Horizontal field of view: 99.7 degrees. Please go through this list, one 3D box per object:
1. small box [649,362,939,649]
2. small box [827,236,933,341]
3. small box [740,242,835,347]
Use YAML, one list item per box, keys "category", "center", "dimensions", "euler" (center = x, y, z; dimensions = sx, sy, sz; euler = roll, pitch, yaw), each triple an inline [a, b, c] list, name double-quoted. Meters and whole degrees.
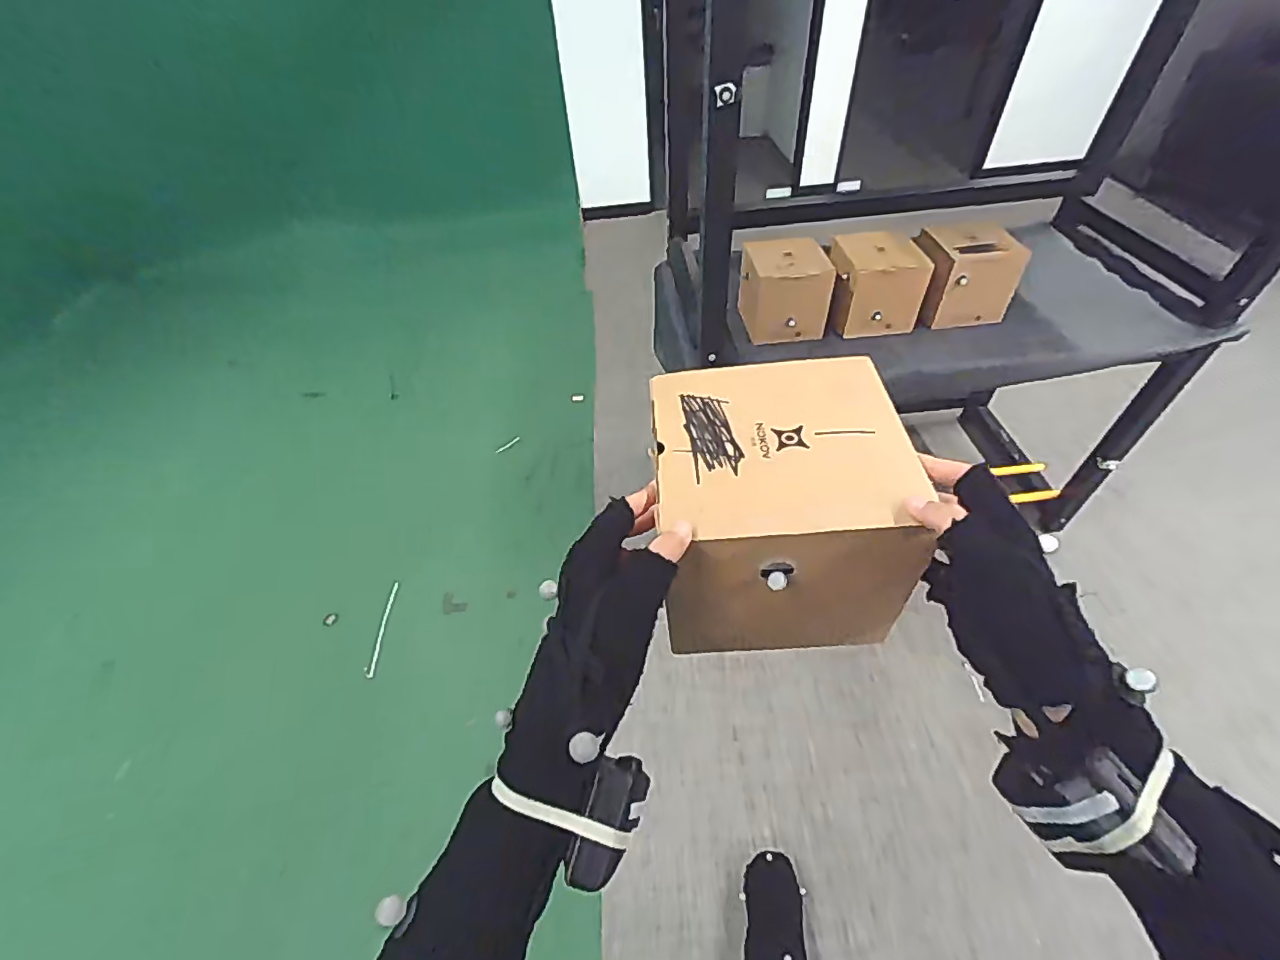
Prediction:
- category: "small box"
  center: [0.102, 0.026, 0.441]
  dimensions: [0.179, 0.176, 0.168]
  euler: [-4, 49, 3]
- category: "small box"
  center: [0.542, -0.447, 1.264]
  dimensions: [0.168, 0.176, 0.179]
  euler: [-5, 48, -1]
- category: "small box"
  center: [0.334, -0.433, 1.264]
  dimensions: [0.168, 0.176, 0.179]
  euler: [-6, 47, 0]
